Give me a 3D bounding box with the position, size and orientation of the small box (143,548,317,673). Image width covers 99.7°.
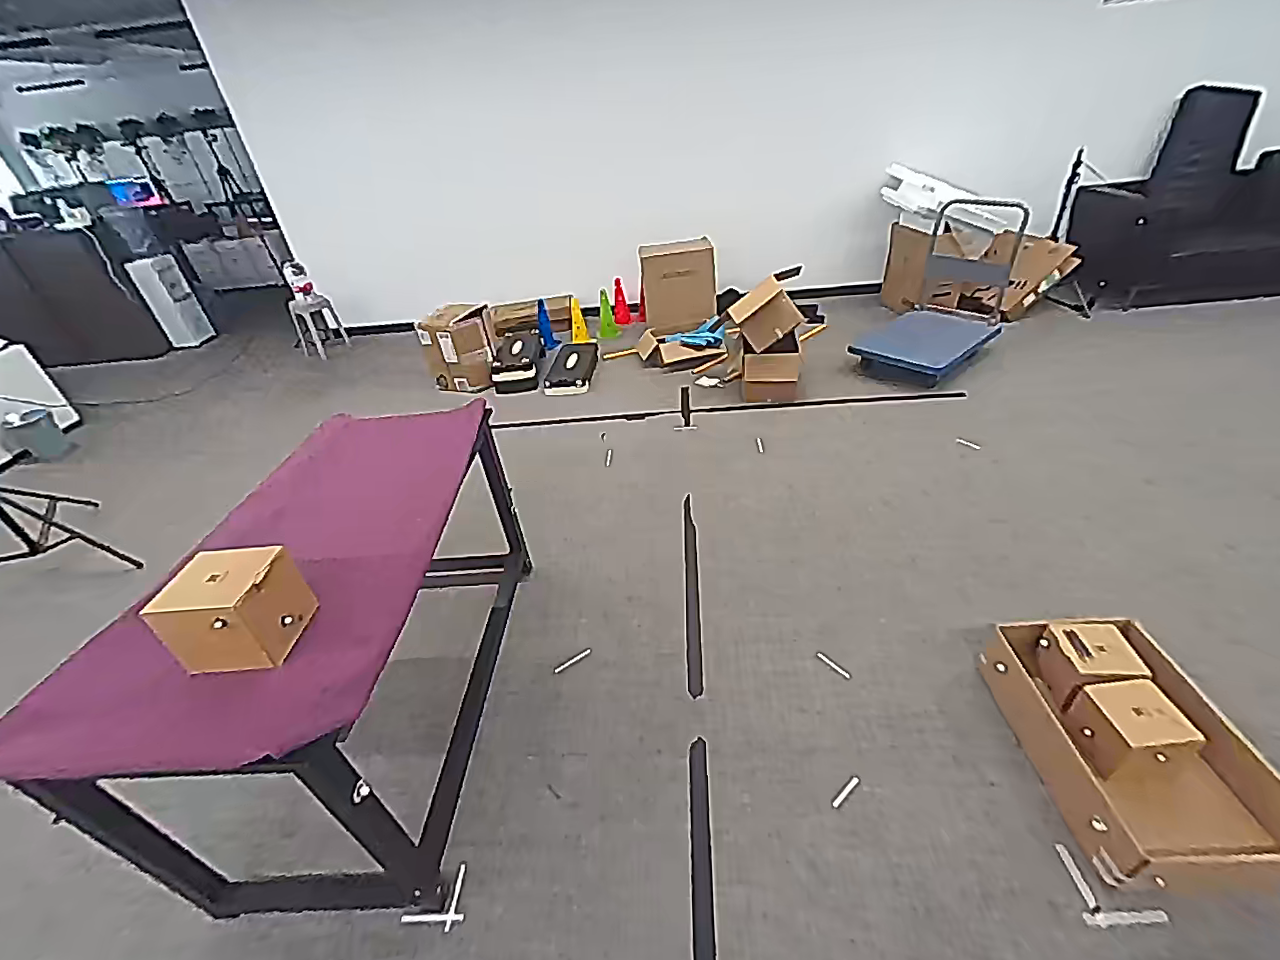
[{"bbox_3d":[-0.774,0.253,1.045,0.179,0.176,0.168,-5,33,1],"label":"small box"}]

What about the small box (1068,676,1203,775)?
[{"bbox_3d":[1.238,0.626,1.372,0.179,0.176,0.168,-6,36,1],"label":"small box"}]
